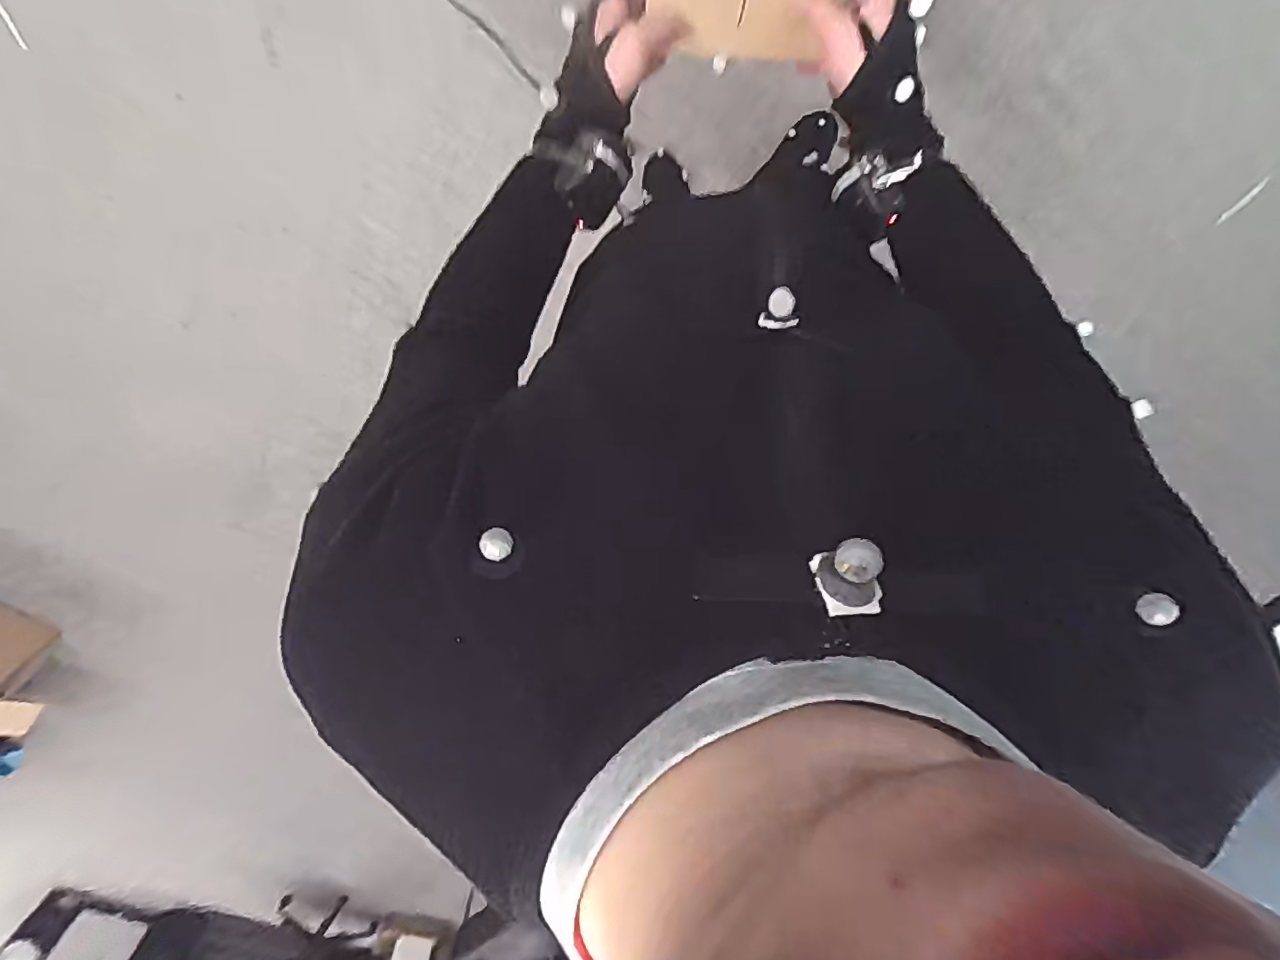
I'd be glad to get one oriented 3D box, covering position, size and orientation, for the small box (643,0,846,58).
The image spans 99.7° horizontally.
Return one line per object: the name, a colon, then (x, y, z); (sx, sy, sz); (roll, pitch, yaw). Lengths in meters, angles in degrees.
small box: (0.090, -0.479, 0.461); (0.168, 0.176, 0.179); (3, 131, 1)
